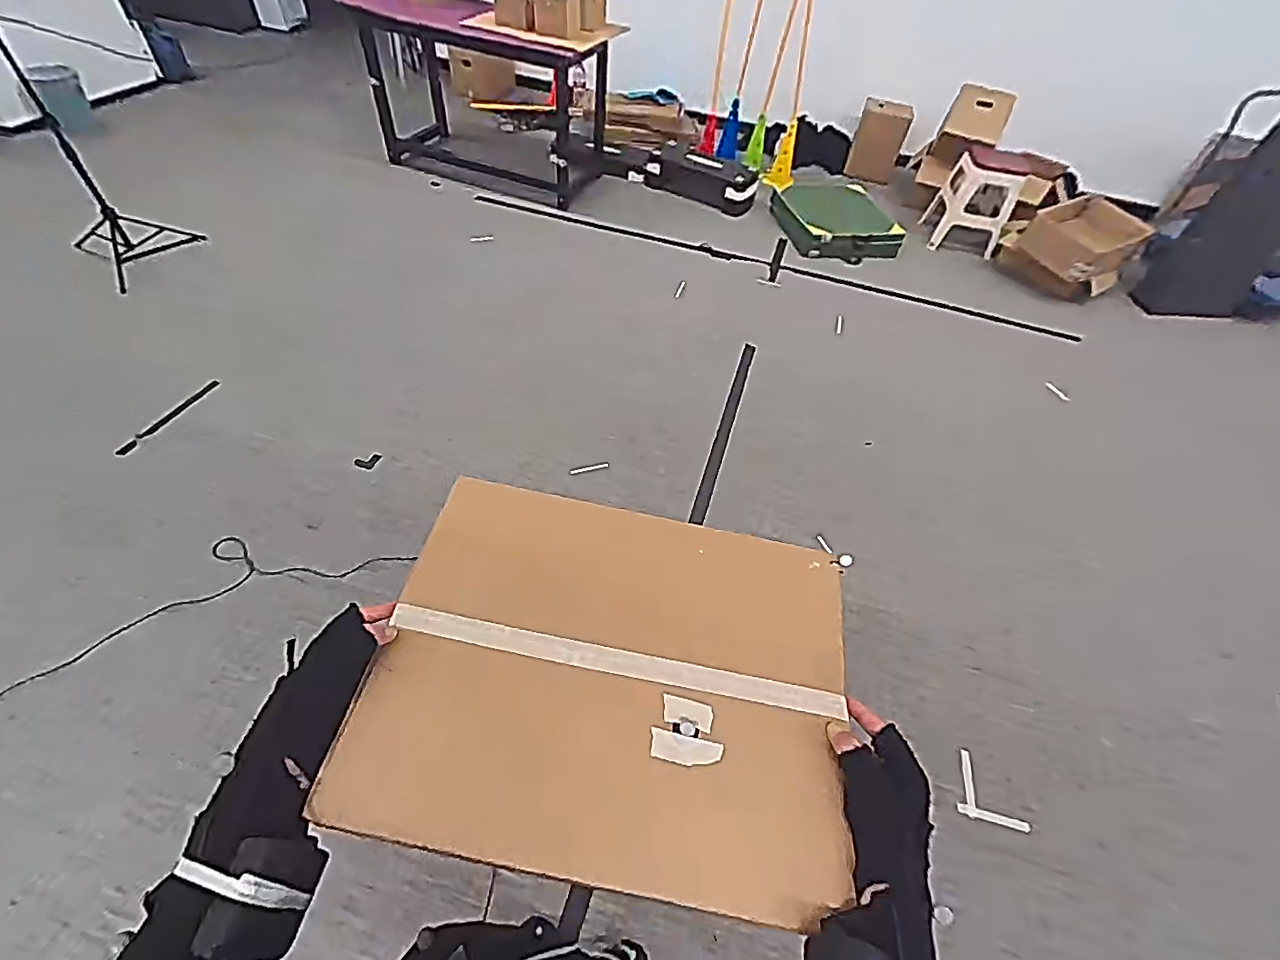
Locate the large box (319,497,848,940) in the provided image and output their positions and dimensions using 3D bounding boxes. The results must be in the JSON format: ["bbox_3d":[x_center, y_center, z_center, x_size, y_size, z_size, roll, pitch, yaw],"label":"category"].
[{"bbox_3d":[-0.036,0.260,0.599,0.408,0.320,0.320,12,55,1],"label":"large box"}]
